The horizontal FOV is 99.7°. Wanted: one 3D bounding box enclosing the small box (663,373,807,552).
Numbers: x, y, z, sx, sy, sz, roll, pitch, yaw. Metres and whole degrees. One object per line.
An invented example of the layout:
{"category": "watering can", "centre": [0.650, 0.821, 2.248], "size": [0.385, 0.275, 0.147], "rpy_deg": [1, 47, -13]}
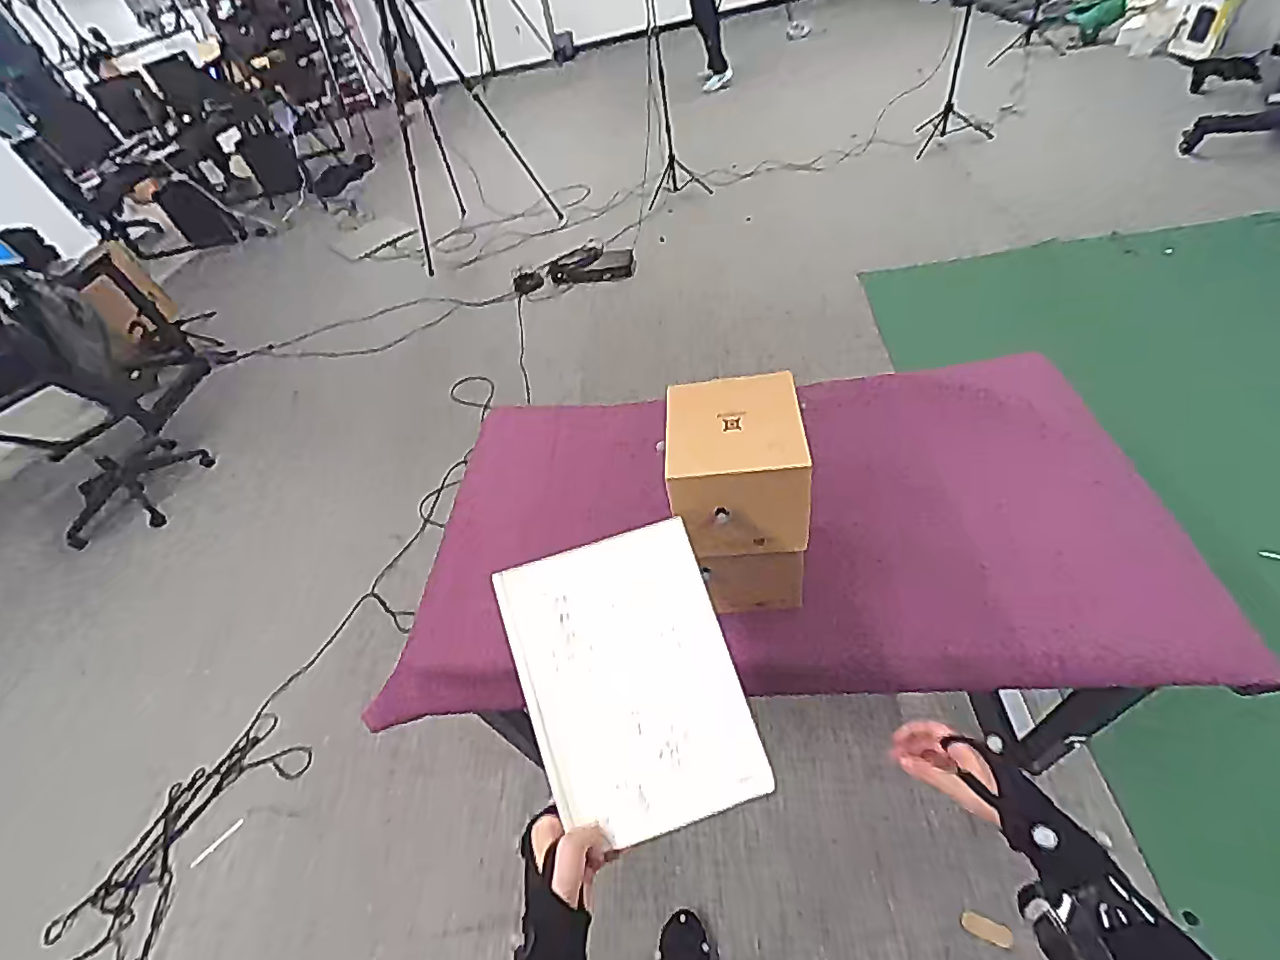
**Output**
{"category": "small box", "centre": [0.127, -0.016, 0.722], "size": [0.168, 0.176, 0.179], "rpy_deg": [-5, 46, 10]}
